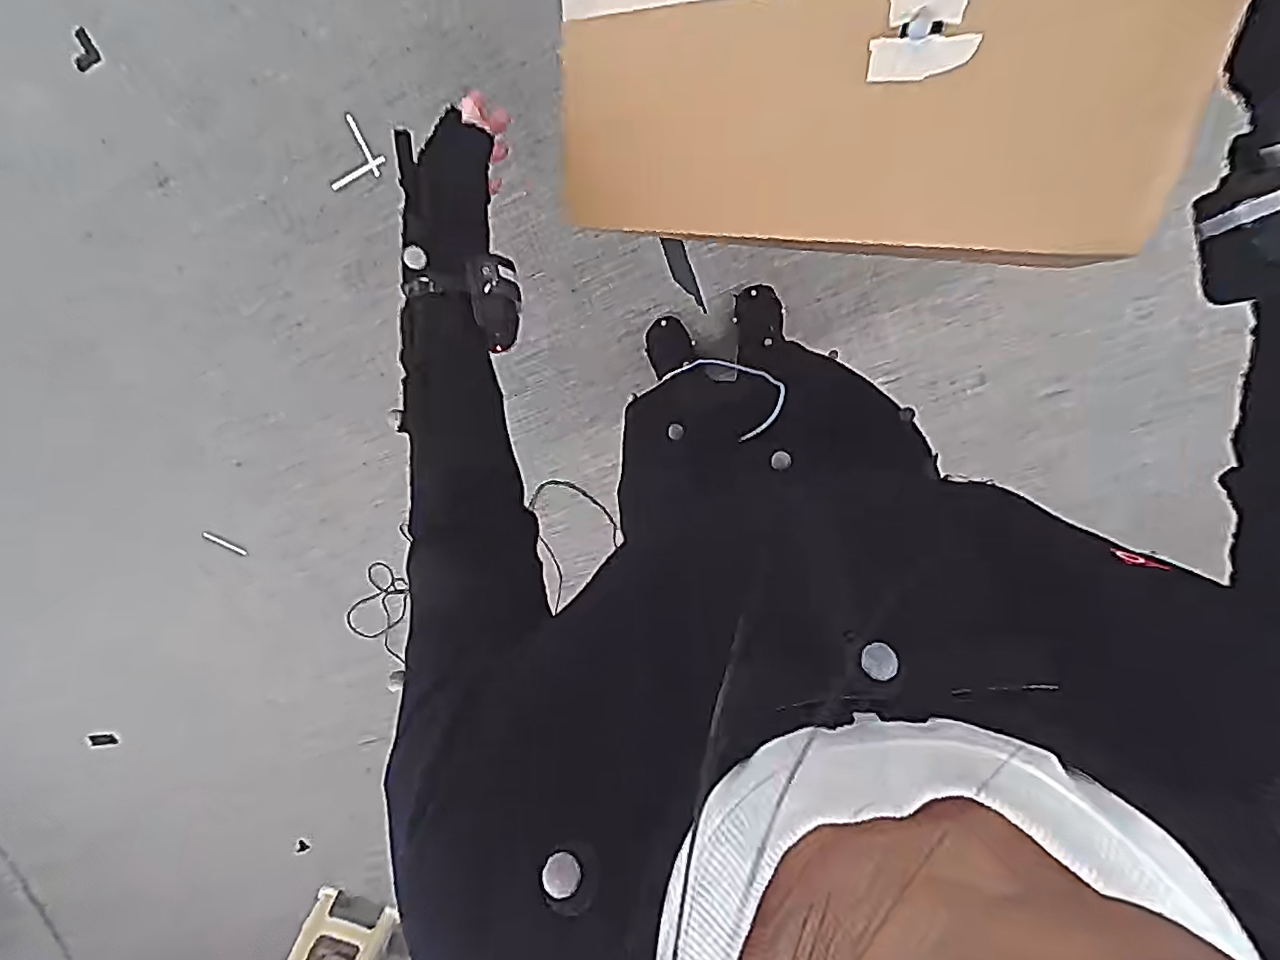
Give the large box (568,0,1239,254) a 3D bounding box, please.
[{"bbox_3d":[0.191,-0.364,0.449,0.408,0.320,0.320,15,116,27],"label":"large box"}]
